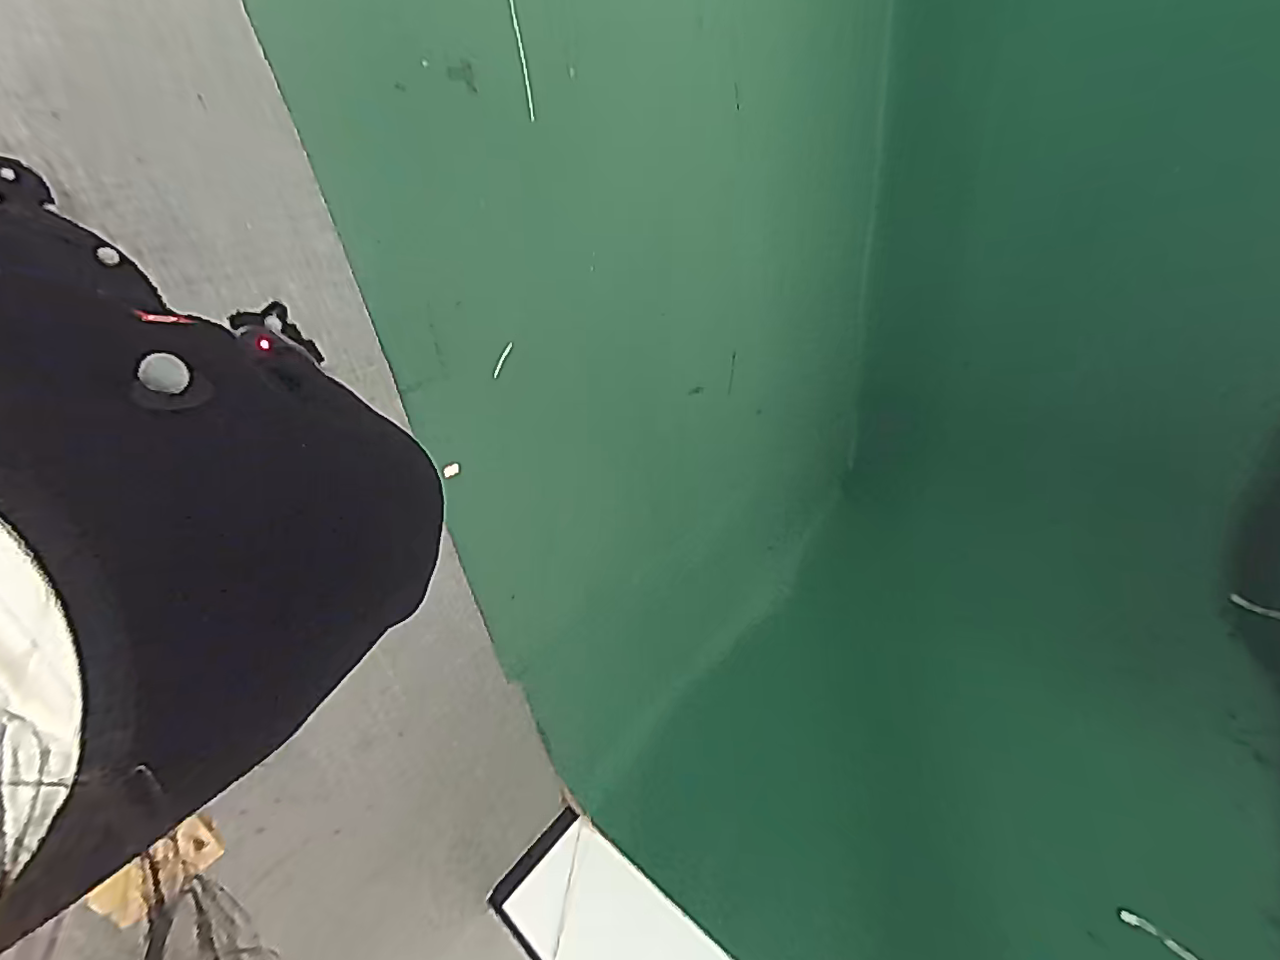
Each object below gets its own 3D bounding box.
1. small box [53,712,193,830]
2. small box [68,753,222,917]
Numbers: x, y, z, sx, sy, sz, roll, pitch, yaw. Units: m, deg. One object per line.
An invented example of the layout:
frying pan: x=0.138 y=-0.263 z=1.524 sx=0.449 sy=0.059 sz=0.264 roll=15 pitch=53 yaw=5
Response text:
small box: x=-1.116 y=0.655 z=1.179 sx=0.179 sy=0.176 sz=0.168 roll=-34 pitch=129 yaw=-36
small box: x=-0.991 y=0.701 z=1.084 sx=0.179 sy=0.176 sz=0.168 roll=-31 pitch=127 yaw=-38
